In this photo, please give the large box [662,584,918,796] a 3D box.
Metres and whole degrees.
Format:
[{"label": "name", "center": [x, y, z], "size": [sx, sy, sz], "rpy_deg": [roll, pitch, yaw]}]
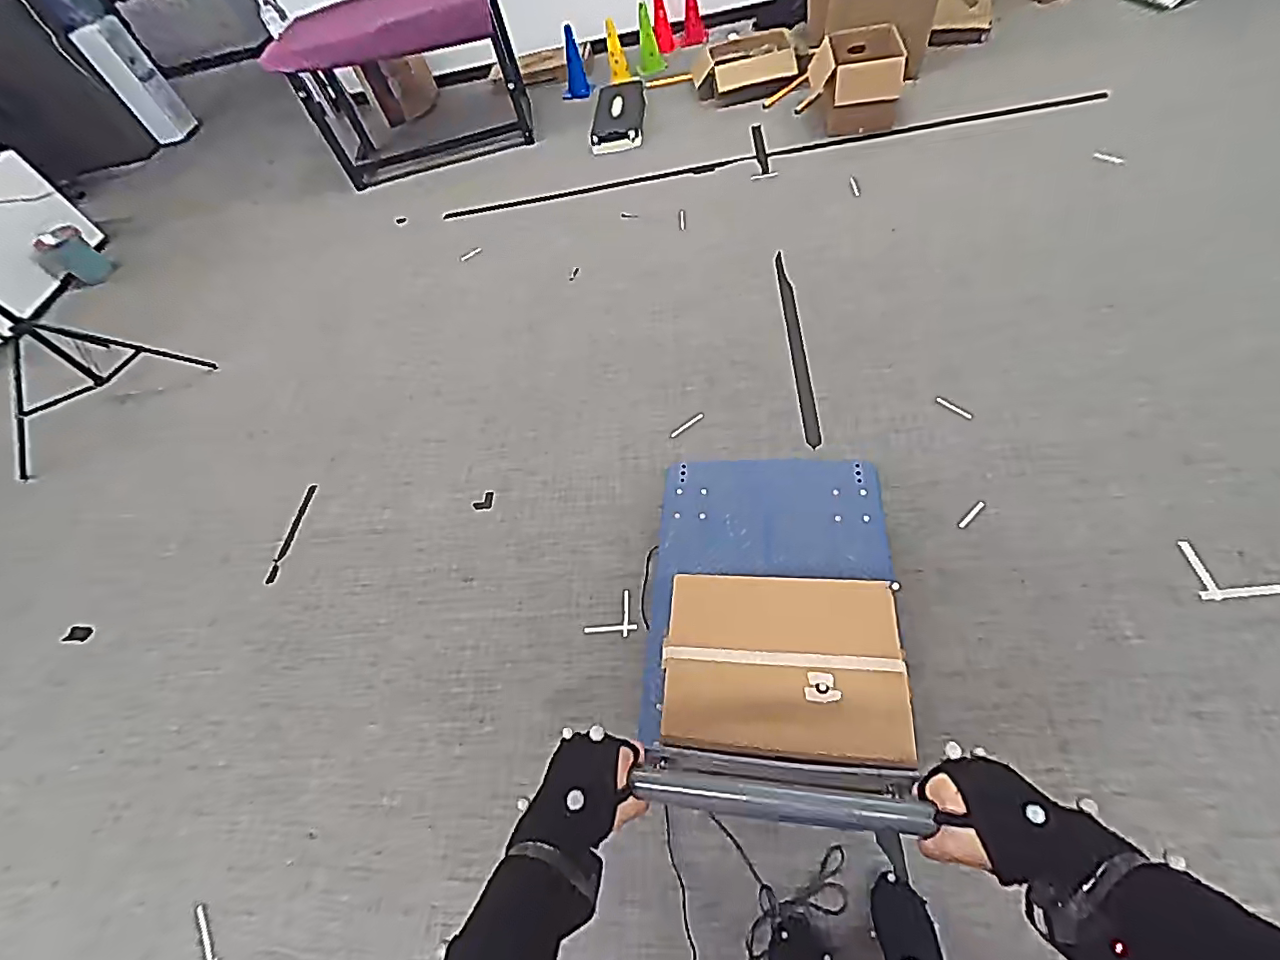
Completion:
[{"label": "large box", "center": [0.267, 0.412, 1.058], "size": [0.408, 0.320, 0.320], "rpy_deg": [0, 56, 11]}]
